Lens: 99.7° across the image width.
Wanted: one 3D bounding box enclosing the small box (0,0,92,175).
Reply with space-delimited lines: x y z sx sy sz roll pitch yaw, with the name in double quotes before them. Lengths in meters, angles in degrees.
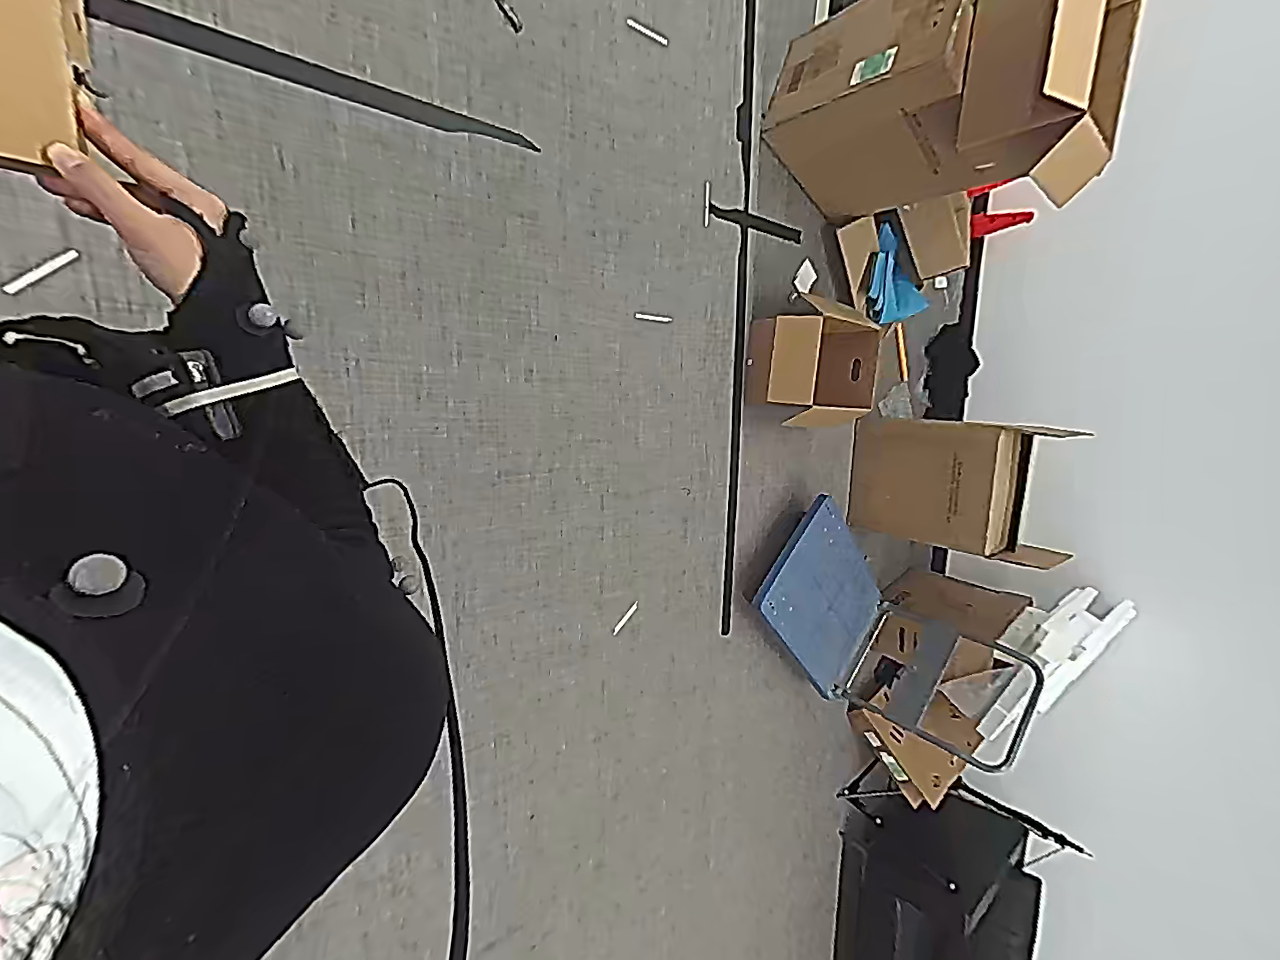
"small box" -0.423 -0.277 0.287 0.179 0.176 0.168 -4 112 -40
